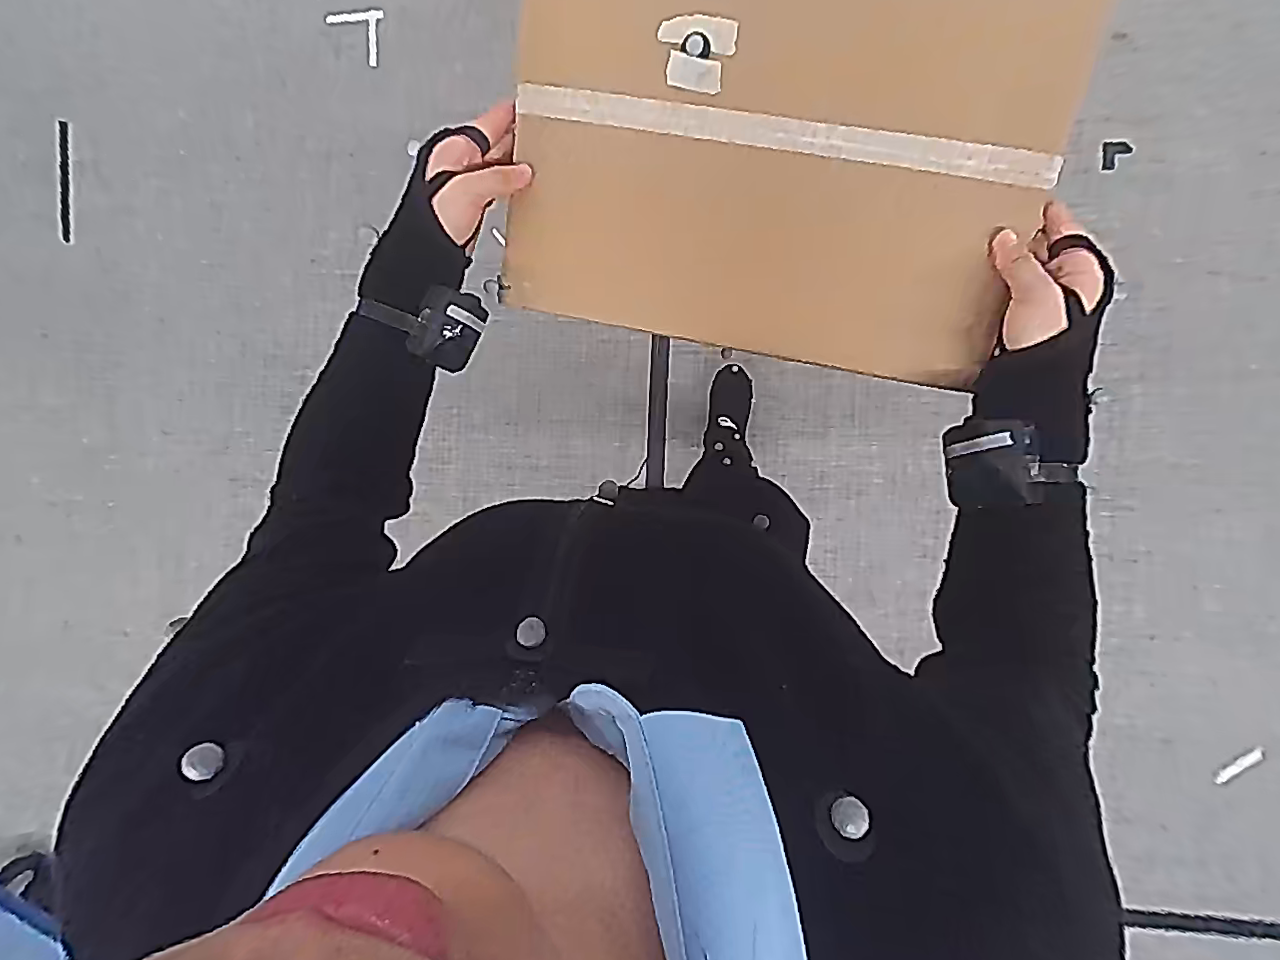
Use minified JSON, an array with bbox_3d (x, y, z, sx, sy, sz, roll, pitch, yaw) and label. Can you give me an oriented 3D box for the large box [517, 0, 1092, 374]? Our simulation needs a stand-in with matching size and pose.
[{"bbox_3d":[0.130,-0.305,0.568,0.408,0.320,0.320,12,105,7],"label":"large box"}]
